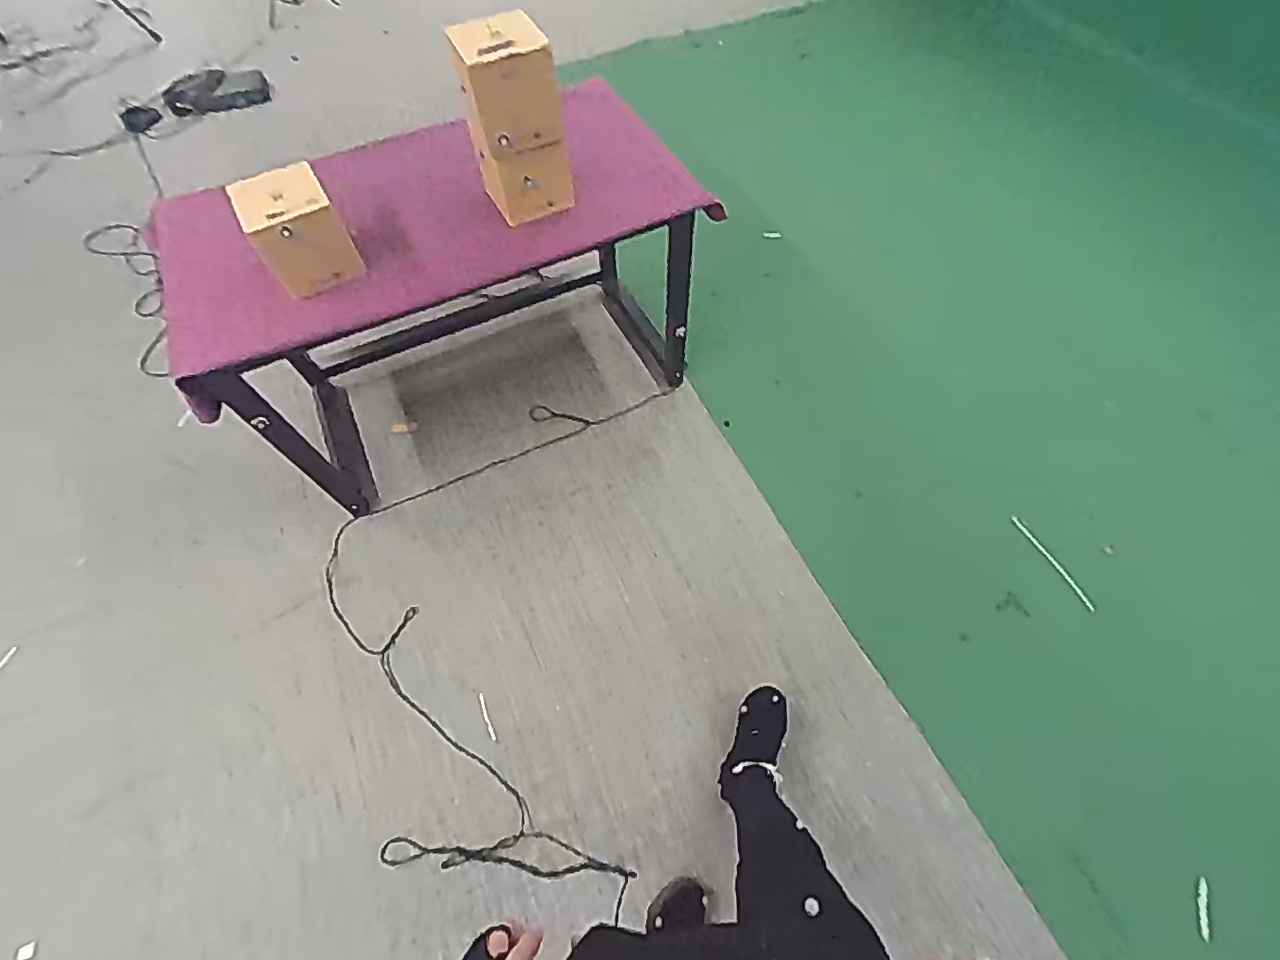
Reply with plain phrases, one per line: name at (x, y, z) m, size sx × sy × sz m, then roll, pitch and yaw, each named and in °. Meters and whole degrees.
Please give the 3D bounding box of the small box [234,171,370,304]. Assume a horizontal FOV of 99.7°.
small box at (-0.711, -0.512, 1.151) m, size 0.168 × 0.176 × 0.179 m, roll -29°, pitch 64°, yaw -13°

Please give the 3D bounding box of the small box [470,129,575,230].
small box at (-0.264, -0.707, 1.247) m, size 0.168 × 0.176 × 0.179 m, roll -26°, pitch 62°, yaw -11°

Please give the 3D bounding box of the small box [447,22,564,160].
small box at (-0.266, -0.781, 1.100) m, size 0.168 × 0.176 × 0.179 m, roll -22°, pitch 61°, yaw -10°
